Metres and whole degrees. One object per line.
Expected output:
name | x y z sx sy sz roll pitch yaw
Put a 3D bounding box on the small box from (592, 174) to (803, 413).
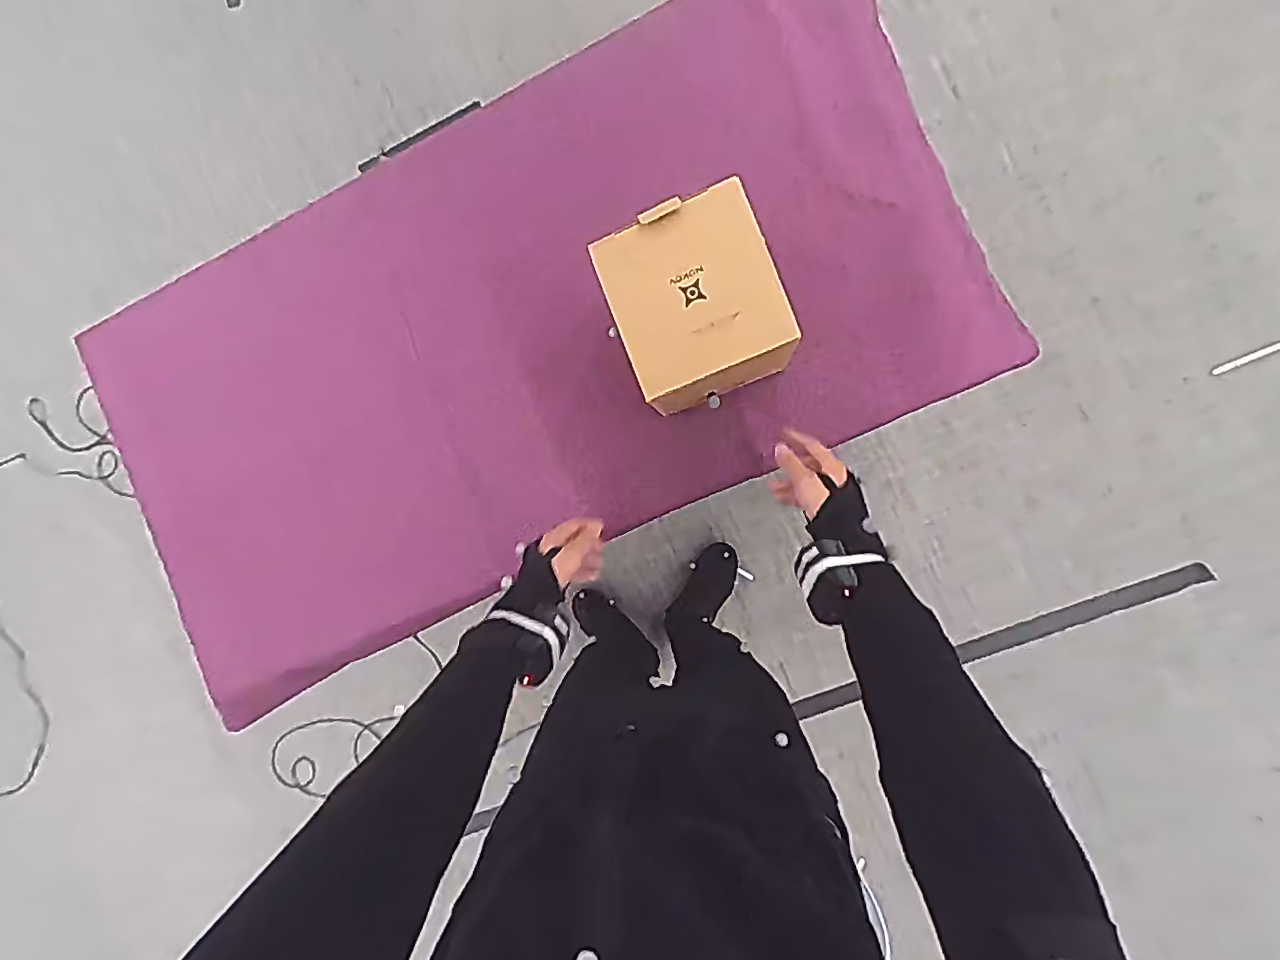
small box | 0.065 -0.190 0.608 0.168 0.176 0.179 -21 87 10
